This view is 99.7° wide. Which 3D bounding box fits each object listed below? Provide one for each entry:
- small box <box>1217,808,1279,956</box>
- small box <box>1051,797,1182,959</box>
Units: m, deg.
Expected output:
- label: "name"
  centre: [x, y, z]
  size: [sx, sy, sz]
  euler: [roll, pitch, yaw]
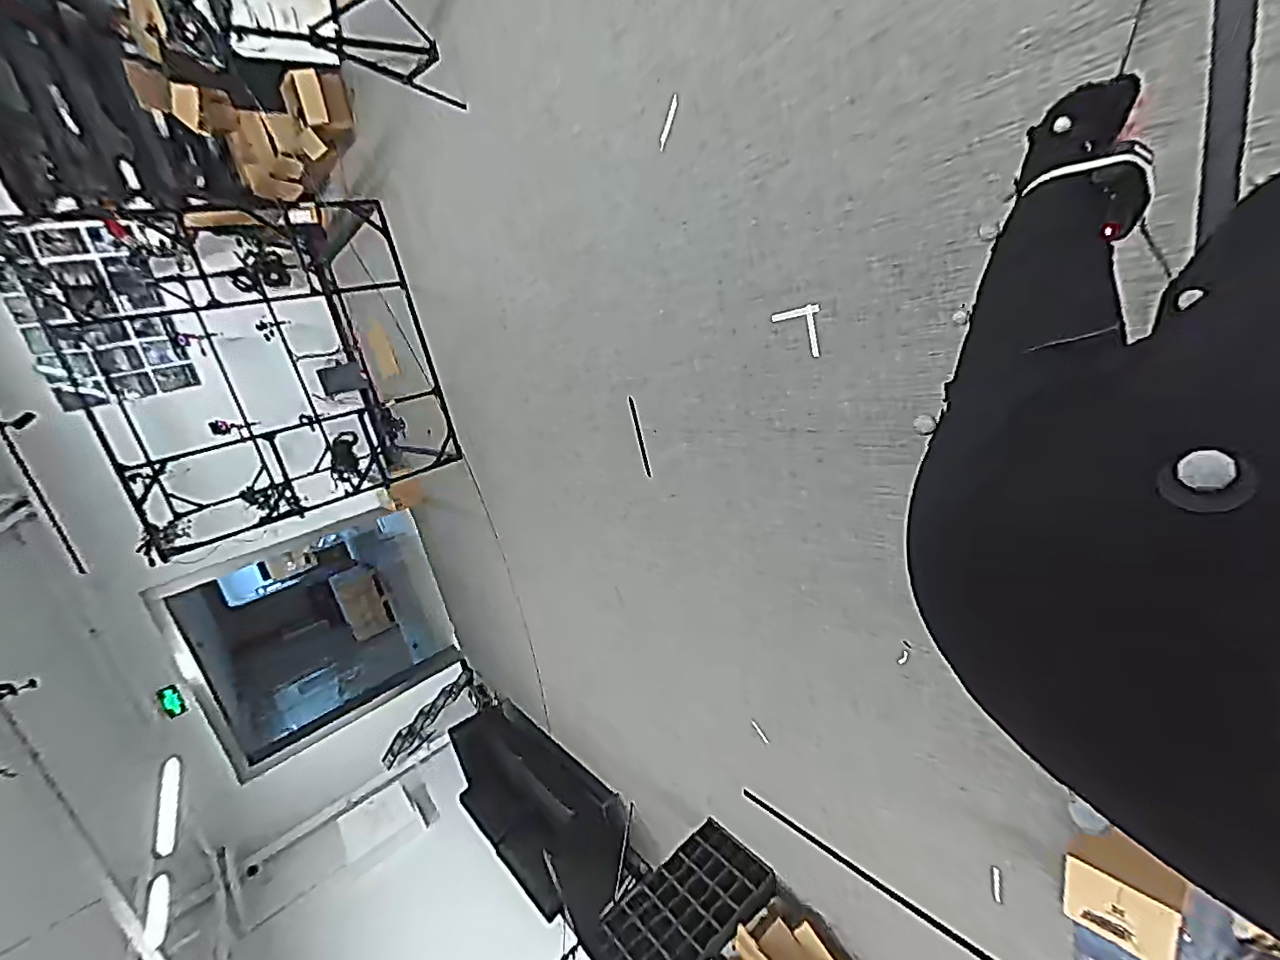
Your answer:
- label: "small box"
  centre: [1.225, 0.772, 1.020]
  size: [0.168, 0.176, 0.179]
  euler: [7, 116, 52]
- label: "small box"
  centre: [0.962, 0.800, 1.095]
  size: [0.168, 0.176, 0.179]
  euler: [11, 118, 50]
